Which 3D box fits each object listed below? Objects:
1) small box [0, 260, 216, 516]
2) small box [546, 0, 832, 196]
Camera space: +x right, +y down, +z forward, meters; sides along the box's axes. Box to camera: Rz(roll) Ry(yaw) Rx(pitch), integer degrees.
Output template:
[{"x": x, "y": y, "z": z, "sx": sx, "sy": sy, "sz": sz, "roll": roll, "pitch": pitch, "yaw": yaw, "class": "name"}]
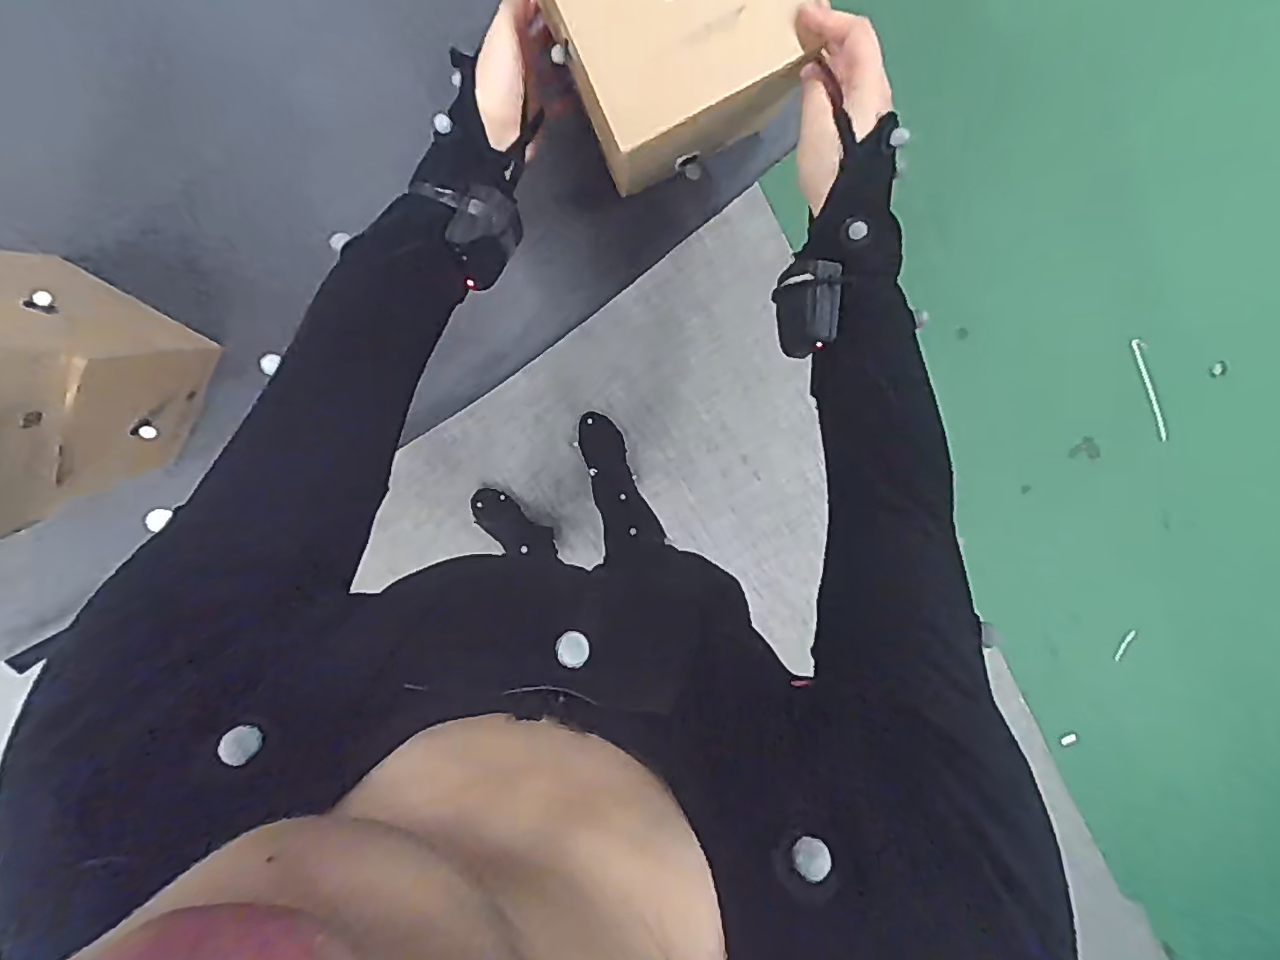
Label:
[{"x": -0.570, "y": -0.098, "z": 0.522, "sx": 0.179, "sy": 0.176, "sz": 0.168, "roll": 31, "pitch": 103, "yaw": -12, "class": "small box"}, {"x": 0.026, "y": -0.369, "z": 0.445, "sx": 0.168, "sy": 0.176, "sz": 0.179, "roll": -25, "pitch": 106, "yaw": 6, "class": "small box"}]
